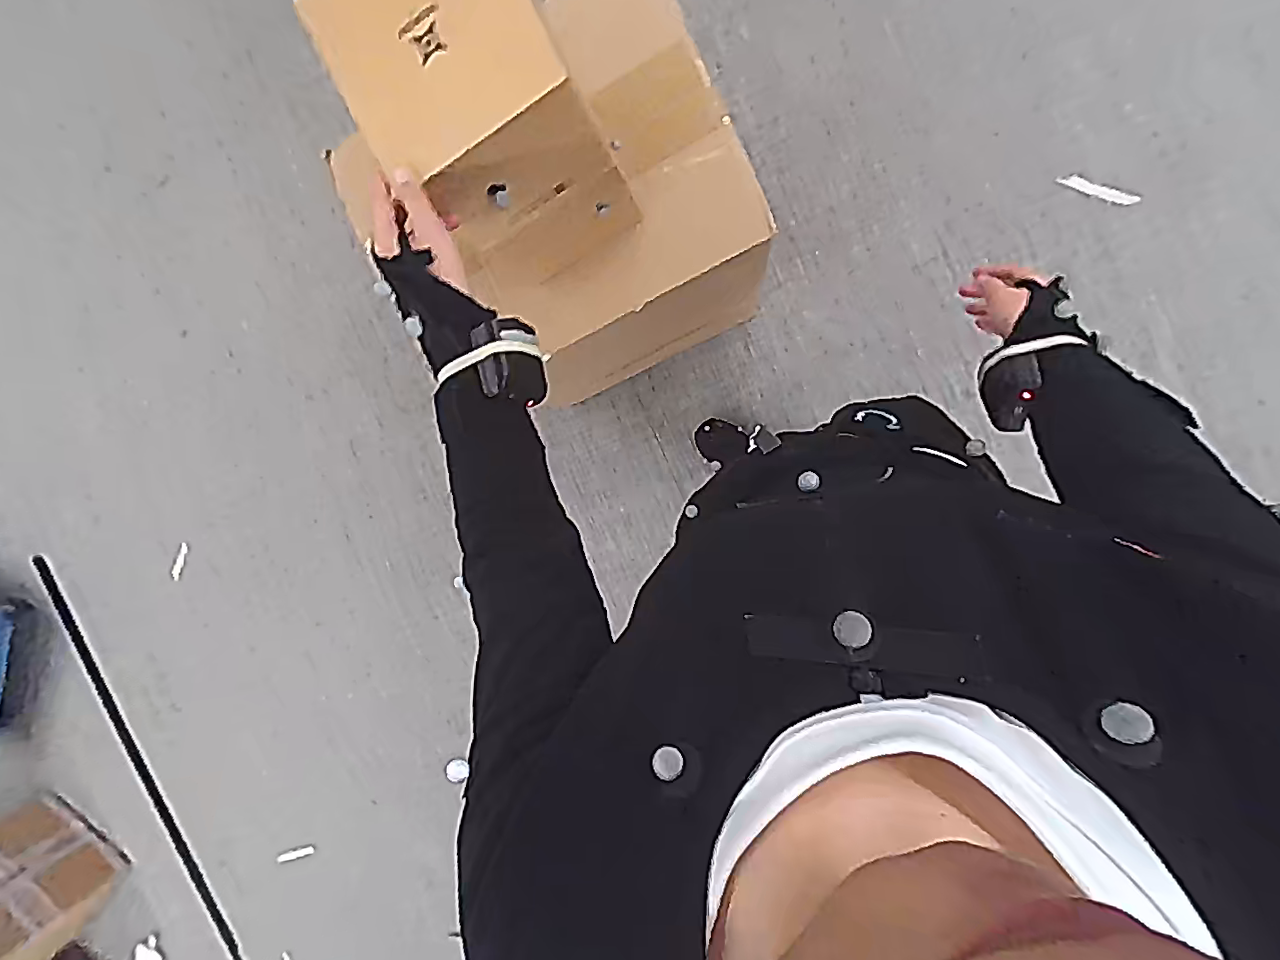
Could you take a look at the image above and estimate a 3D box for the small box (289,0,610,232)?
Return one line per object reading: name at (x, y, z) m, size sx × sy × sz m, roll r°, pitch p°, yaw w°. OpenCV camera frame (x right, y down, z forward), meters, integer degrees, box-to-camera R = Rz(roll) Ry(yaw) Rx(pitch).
small box at (-0.146, -0.345, 0.475) m, size 0.168 × 0.176 × 0.179 m, roll -27°, pitch 93°, yaw 14°
